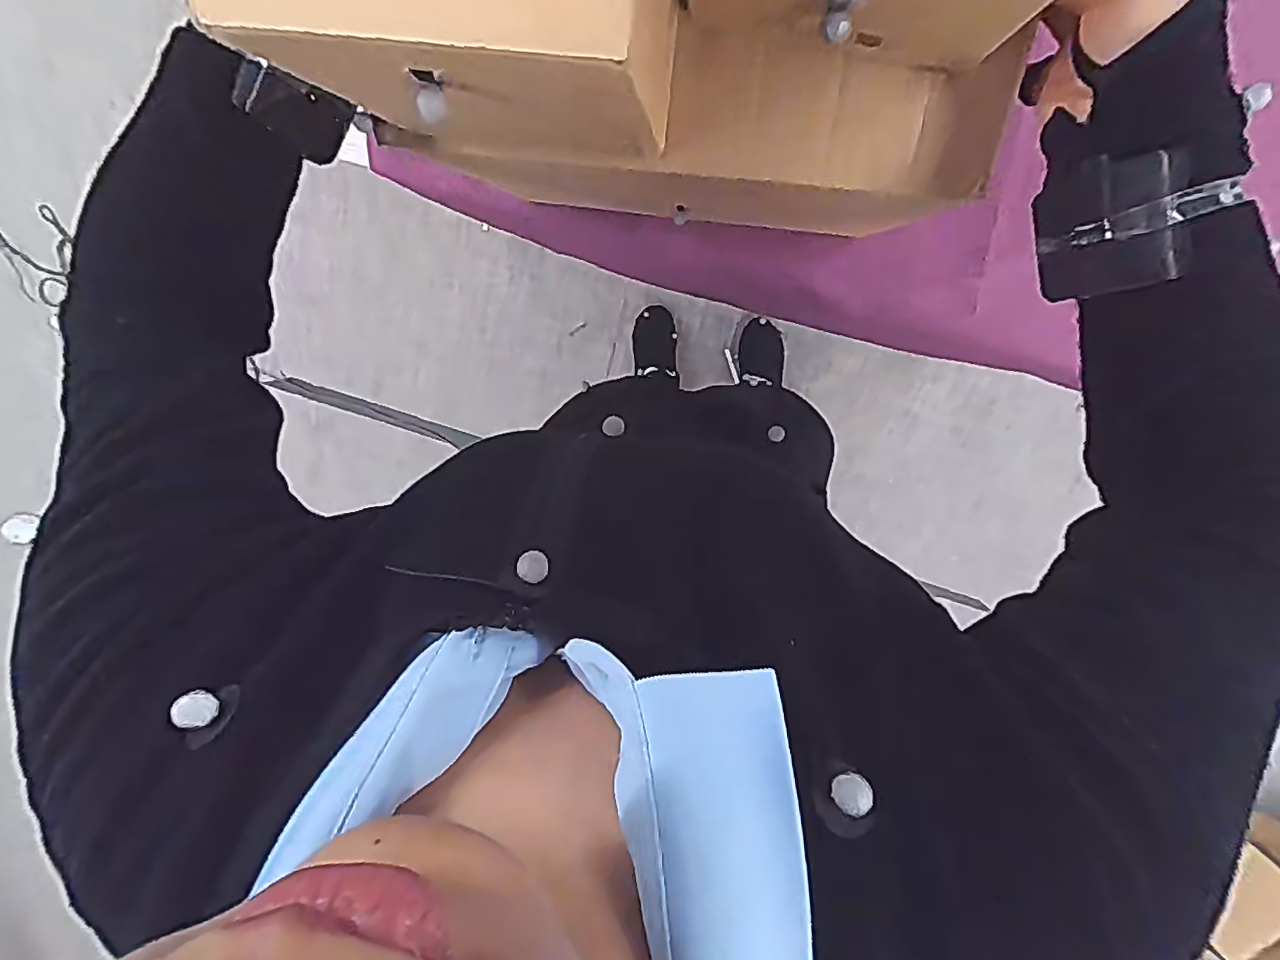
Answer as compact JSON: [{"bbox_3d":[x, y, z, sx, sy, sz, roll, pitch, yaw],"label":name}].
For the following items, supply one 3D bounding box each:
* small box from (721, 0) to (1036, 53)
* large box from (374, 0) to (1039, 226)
[{"bbox_3d":[0.118,-0.305,0.198,0.168,0.176,0.179,15,112,4],"label":"small box"},{"bbox_3d":[0.056,-0.398,0.438,0.408,0.320,0.320,8,110,6],"label":"large box"}]
